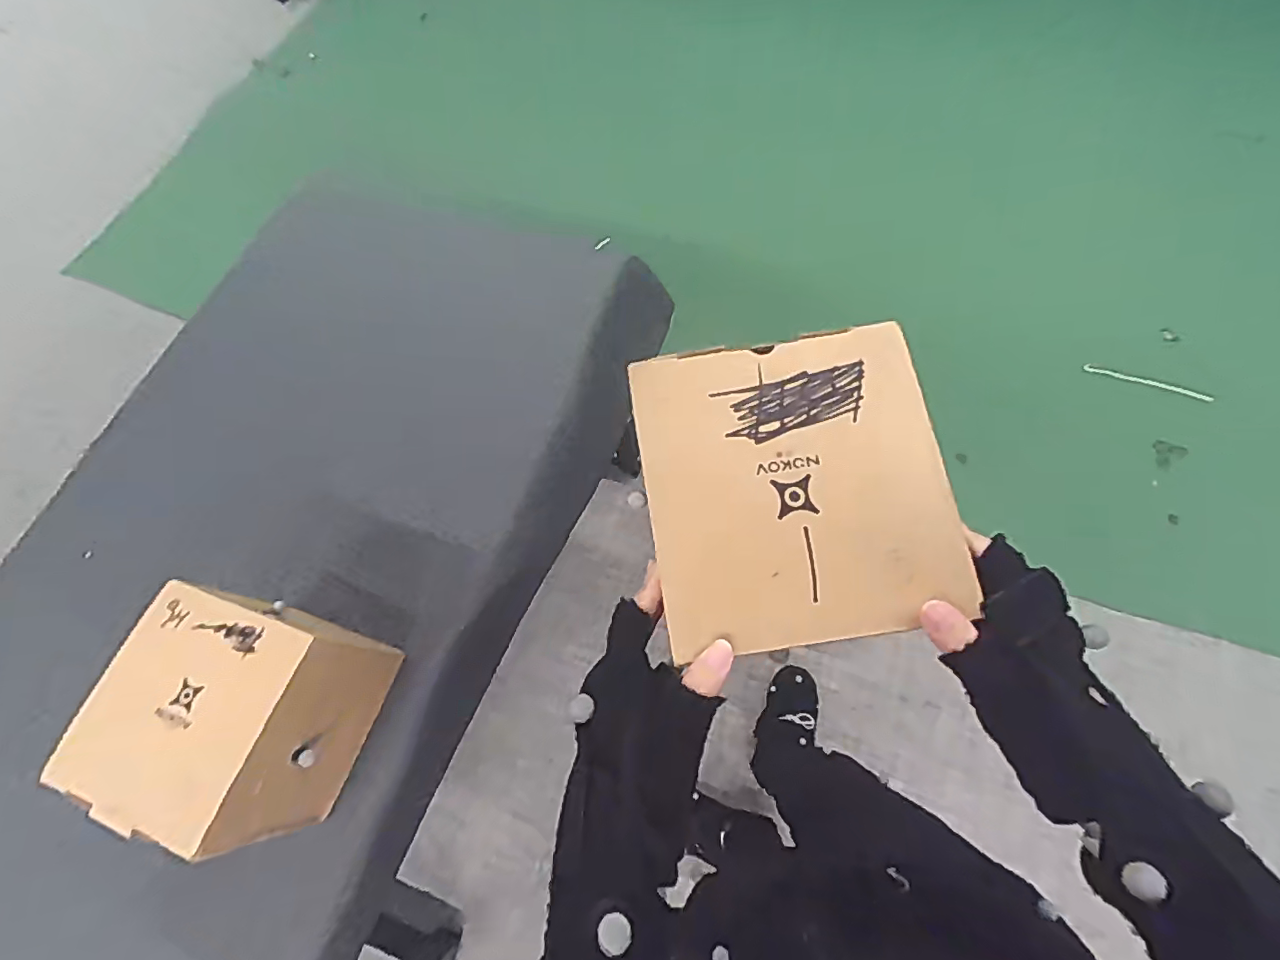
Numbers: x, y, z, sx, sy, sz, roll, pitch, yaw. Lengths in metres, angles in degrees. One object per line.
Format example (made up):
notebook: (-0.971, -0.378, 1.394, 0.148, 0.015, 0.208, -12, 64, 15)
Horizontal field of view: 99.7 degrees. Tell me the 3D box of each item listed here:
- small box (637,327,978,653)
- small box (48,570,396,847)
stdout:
small box: (0.090, 0.020, 0.381, 0.168, 0.176, 0.179, -8, 76, 2)
small box: (-0.378, 0.212, 0.530, 0.168, 0.176, 0.179, 17, 70, 12)
